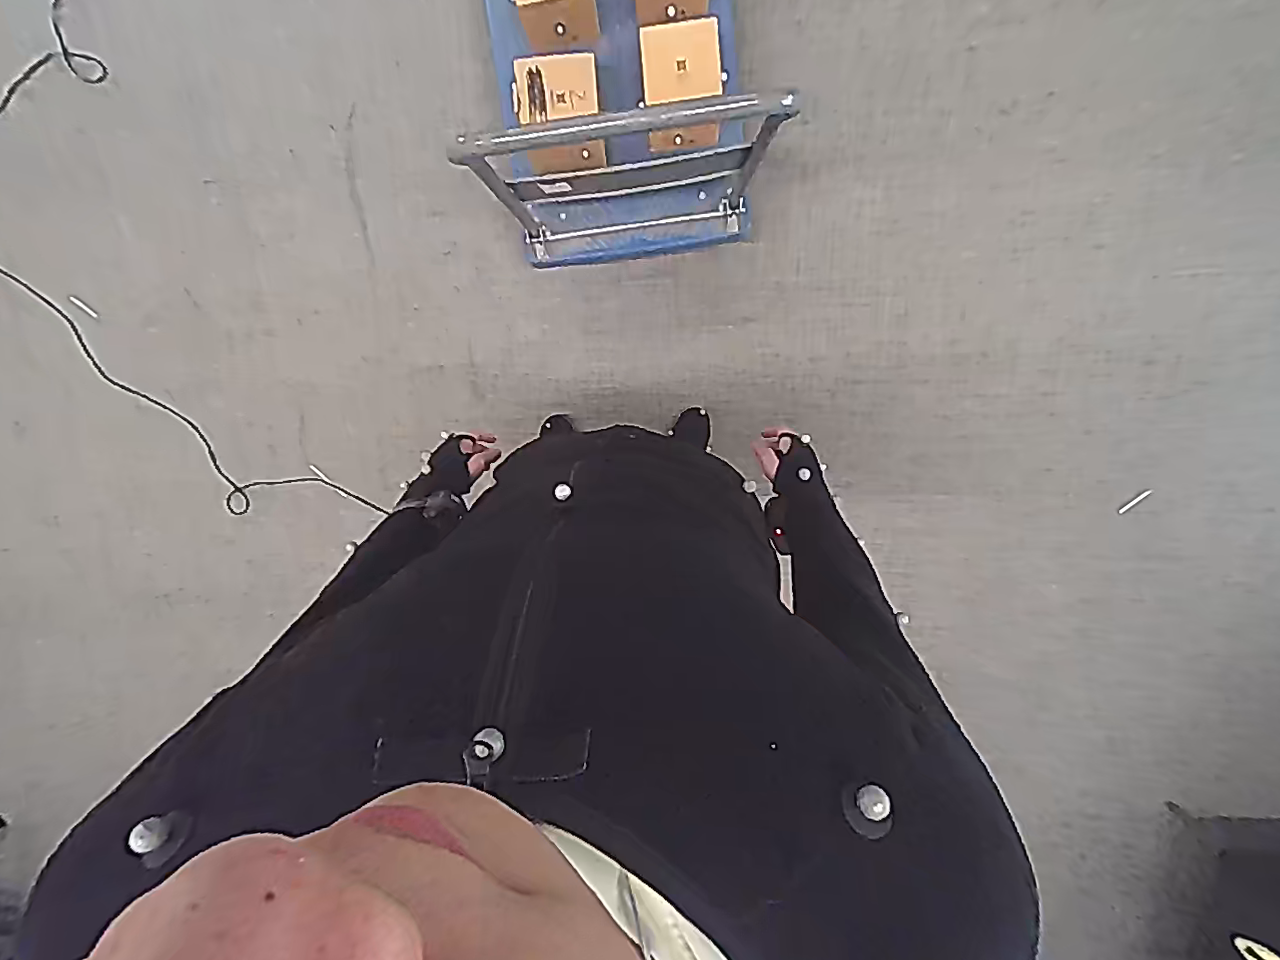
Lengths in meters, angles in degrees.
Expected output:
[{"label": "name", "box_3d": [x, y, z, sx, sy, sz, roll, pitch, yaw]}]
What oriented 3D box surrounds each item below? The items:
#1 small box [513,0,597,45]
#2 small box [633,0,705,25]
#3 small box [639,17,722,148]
[{"label": "small box", "box_3d": [-0.195, -1.101, 1.186, 0.168, 0.176, 0.179, -10, 99, 3]}, {"label": "small box", "box_3d": [0.054, -1.147, 1.167, 0.168, 0.176, 0.179, -10, 100, 5]}, {"label": "small box", "box_3d": [0.087, -0.882, 1.215, 0.168, 0.176, 0.179, -6, 100, 3]}]
